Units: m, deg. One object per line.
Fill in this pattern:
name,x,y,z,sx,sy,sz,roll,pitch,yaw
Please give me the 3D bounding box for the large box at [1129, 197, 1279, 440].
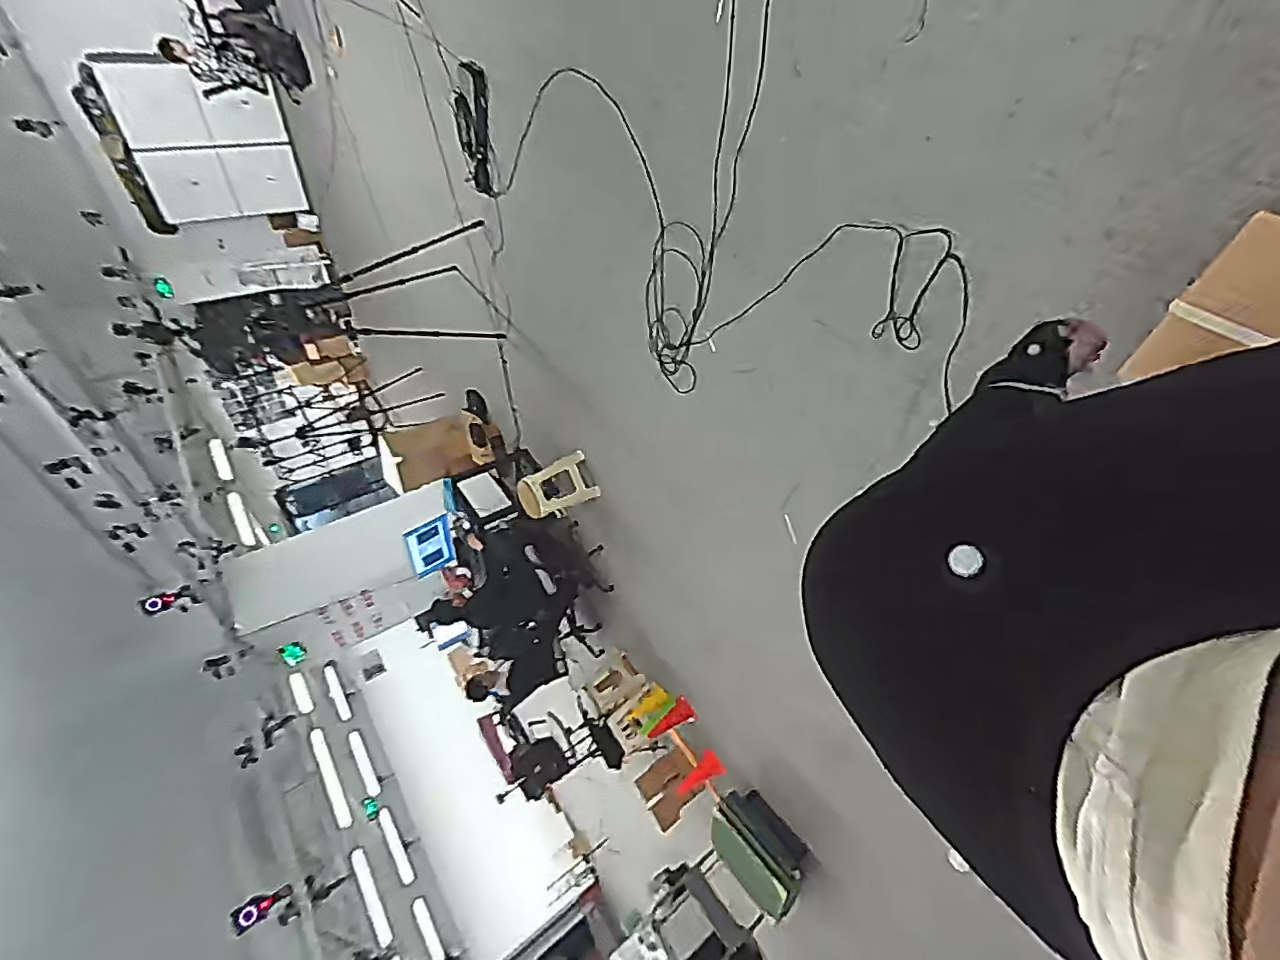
large box,1.176,-0.253,0.893,0.408,0.320,0.320,44,145,32
